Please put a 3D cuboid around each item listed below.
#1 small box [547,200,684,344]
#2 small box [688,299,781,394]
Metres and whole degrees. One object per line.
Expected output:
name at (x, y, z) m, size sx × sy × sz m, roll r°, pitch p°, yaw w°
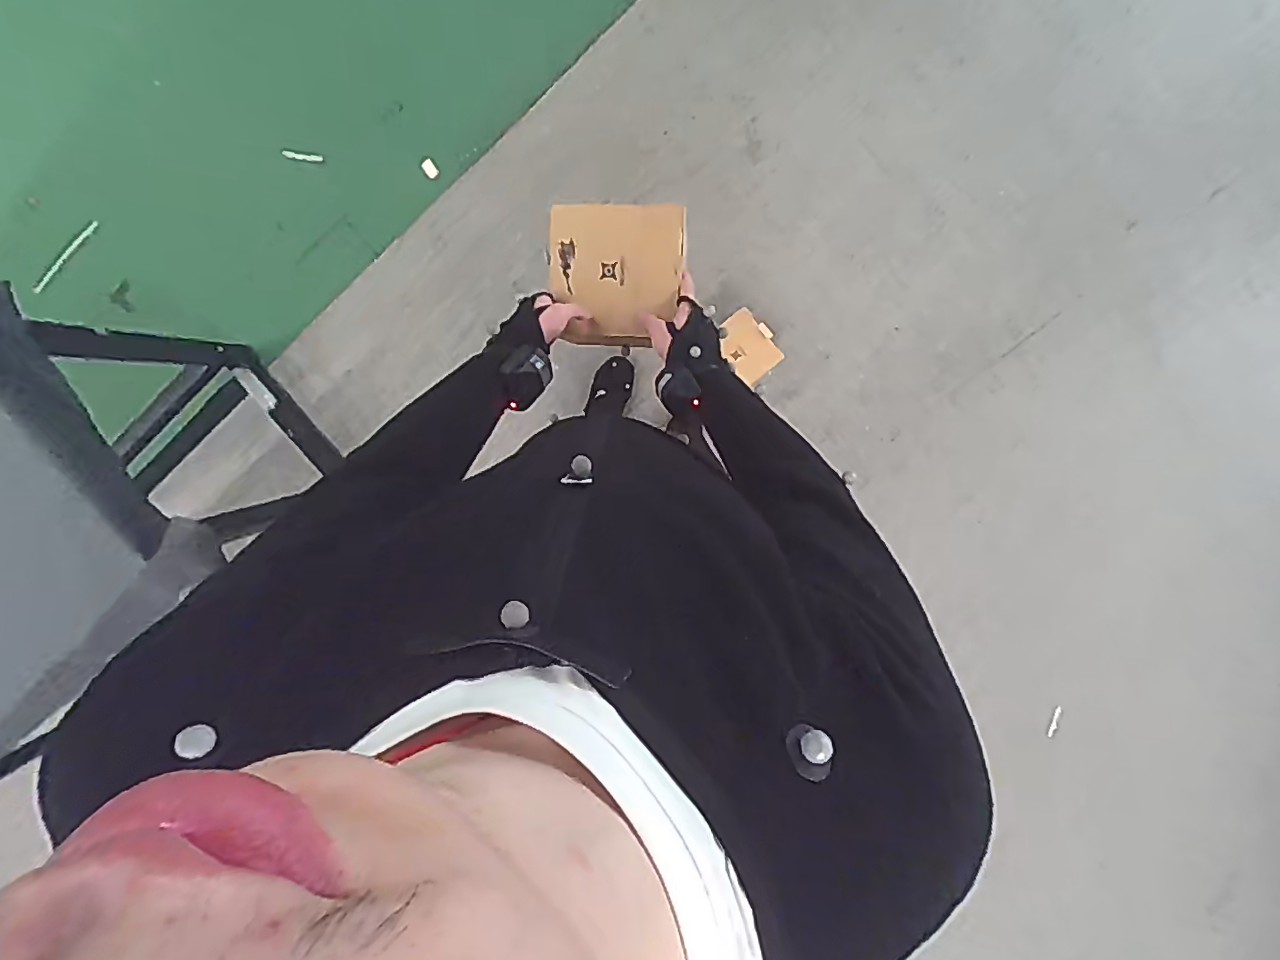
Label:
small box at (-0.029, -0.289, 0.783) m, size 0.179 × 0.176 × 0.168 m, roll 3°, pitch 100°, yaw 4°
small box at (0.240, -0.342, 1.413) m, size 0.179 × 0.176 × 0.168 m, roll -36°, pitch 93°, yaw 9°
